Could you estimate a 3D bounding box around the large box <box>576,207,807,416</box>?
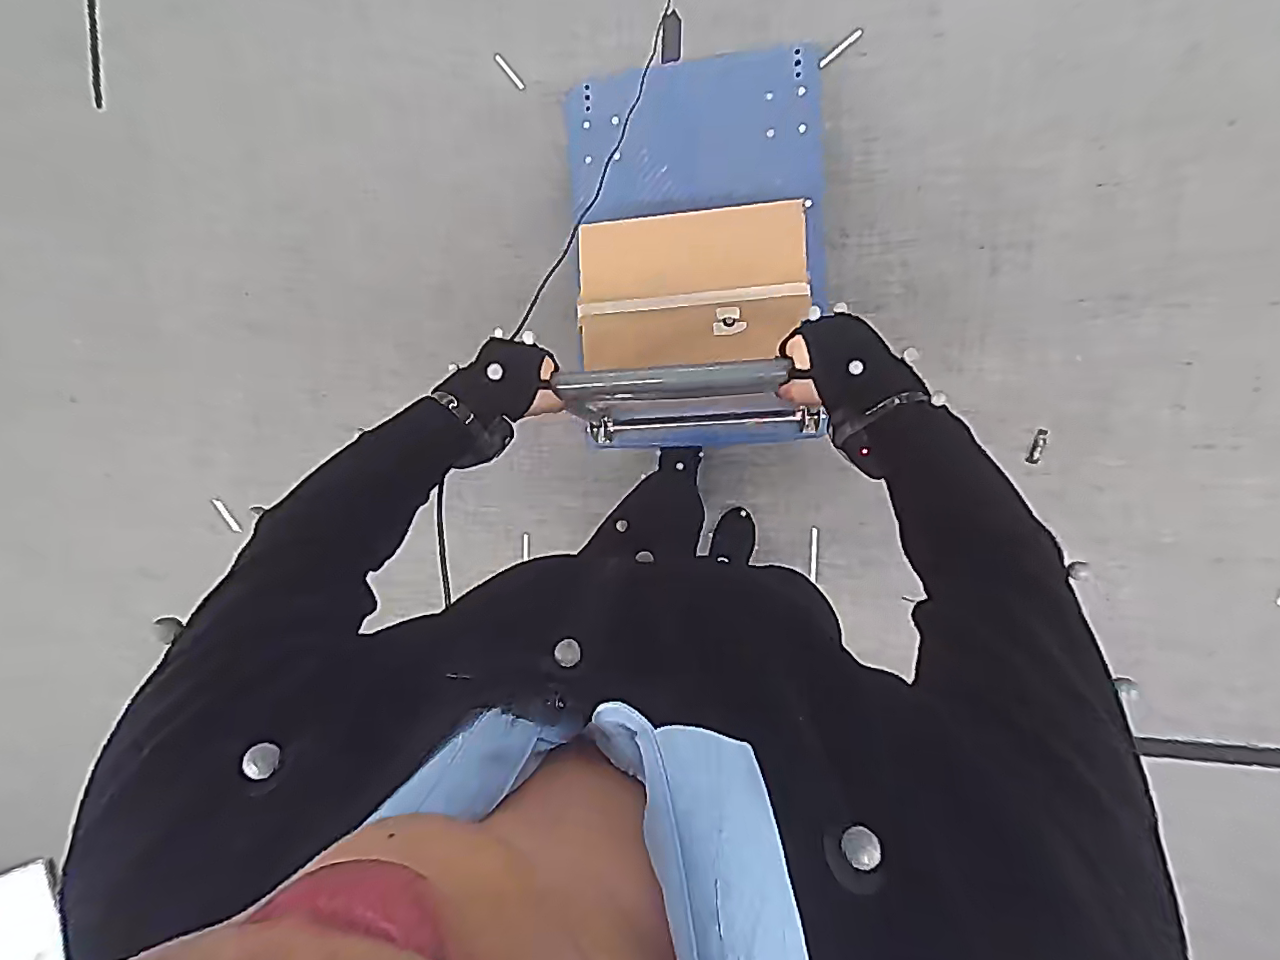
[{"bbox_3d":[0.107,-0.312,1.110,0.408,0.320,0.320,-2,92,9],"label":"large box"}]
